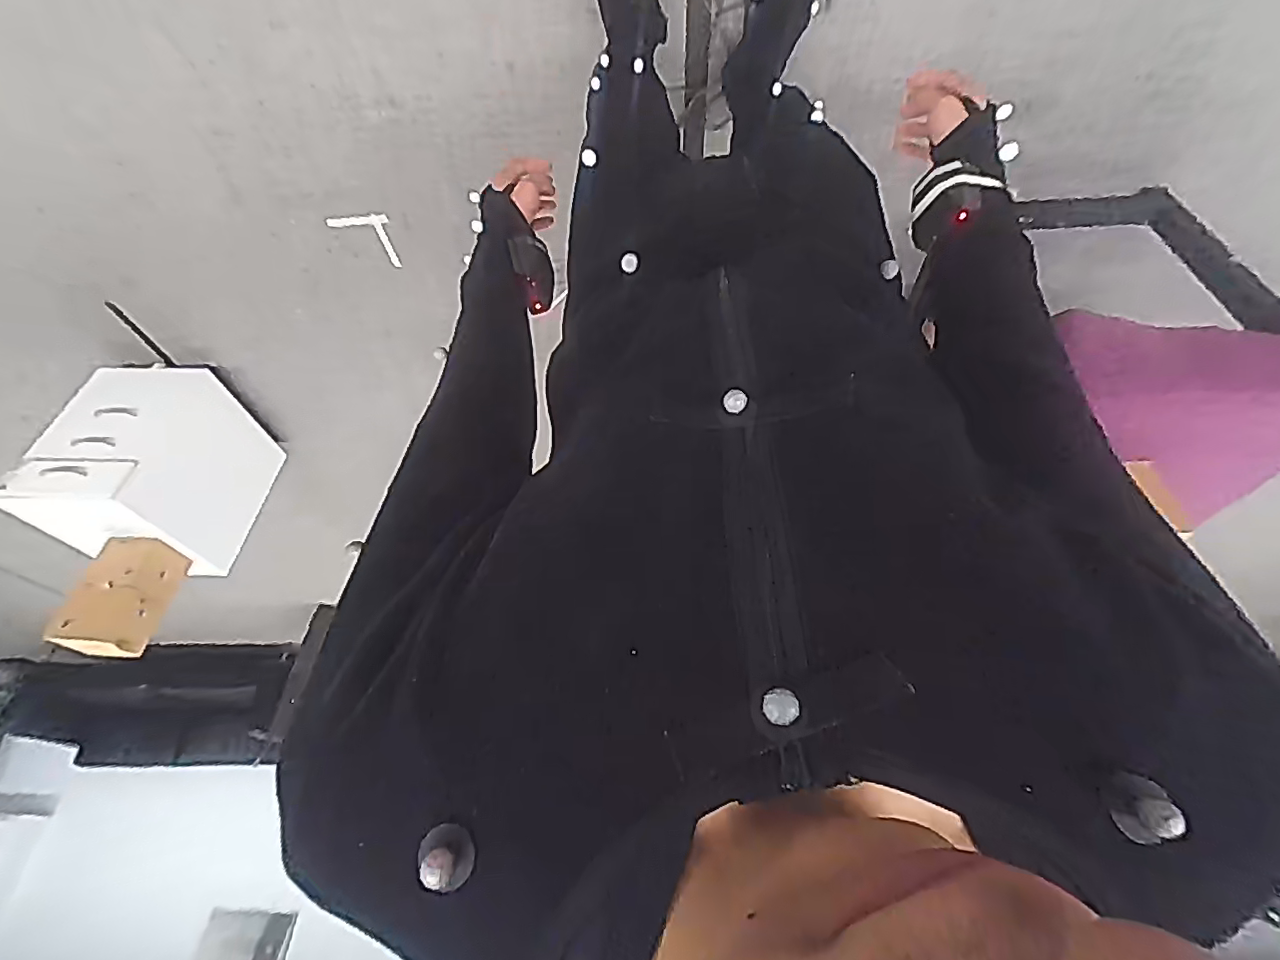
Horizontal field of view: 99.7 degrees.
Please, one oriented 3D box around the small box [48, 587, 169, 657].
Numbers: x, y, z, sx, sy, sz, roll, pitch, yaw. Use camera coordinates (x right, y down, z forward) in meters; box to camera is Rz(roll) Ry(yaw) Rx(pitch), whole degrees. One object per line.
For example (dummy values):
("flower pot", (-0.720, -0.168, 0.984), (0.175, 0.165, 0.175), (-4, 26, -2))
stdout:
("small box", (-1.653, 0.443, 1.696), (0.179, 0.176, 0.168), (2, 146, 0))
